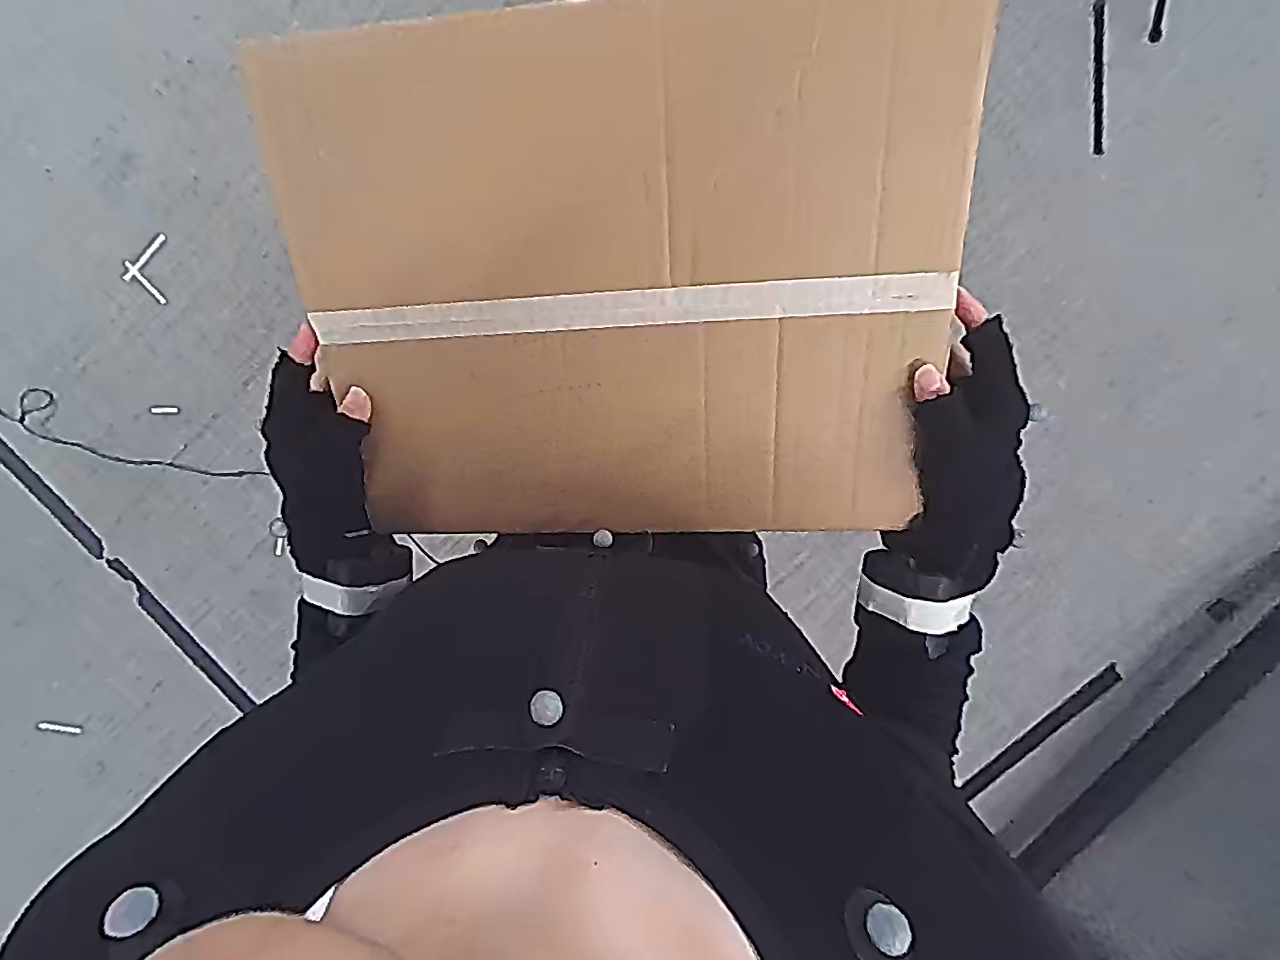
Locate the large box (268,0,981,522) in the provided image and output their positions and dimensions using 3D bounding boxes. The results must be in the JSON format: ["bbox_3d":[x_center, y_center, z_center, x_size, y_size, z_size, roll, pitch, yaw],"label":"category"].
[{"bbox_3d":[-0.002,-0.170,0.485,0.408,0.320,0.320,-1,113,6],"label":"large box"}]
